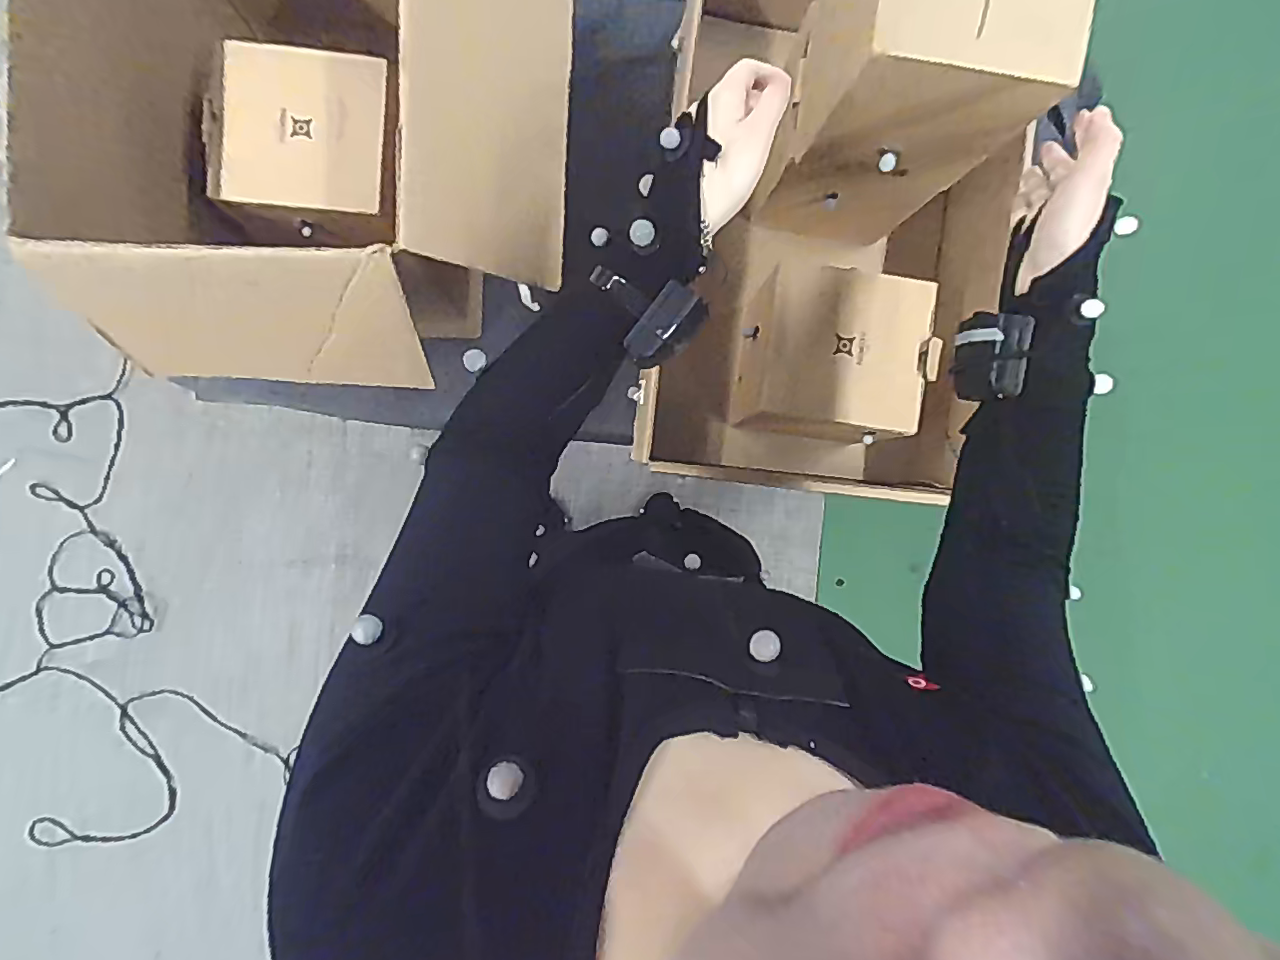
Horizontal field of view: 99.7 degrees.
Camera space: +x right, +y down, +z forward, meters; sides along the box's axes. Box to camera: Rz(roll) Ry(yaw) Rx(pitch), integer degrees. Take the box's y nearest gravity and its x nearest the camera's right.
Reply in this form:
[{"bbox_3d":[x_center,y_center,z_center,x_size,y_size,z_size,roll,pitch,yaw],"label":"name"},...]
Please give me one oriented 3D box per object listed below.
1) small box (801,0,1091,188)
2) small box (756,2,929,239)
[{"bbox_3d":[0.258,-0.398,0.483,0.168,0.176,0.179,7,94,-3],"label":"small box"},{"bbox_3d":[0.249,-0.410,0.647,0.179,0.176,0.168,8,93,-2],"label":"small box"}]
